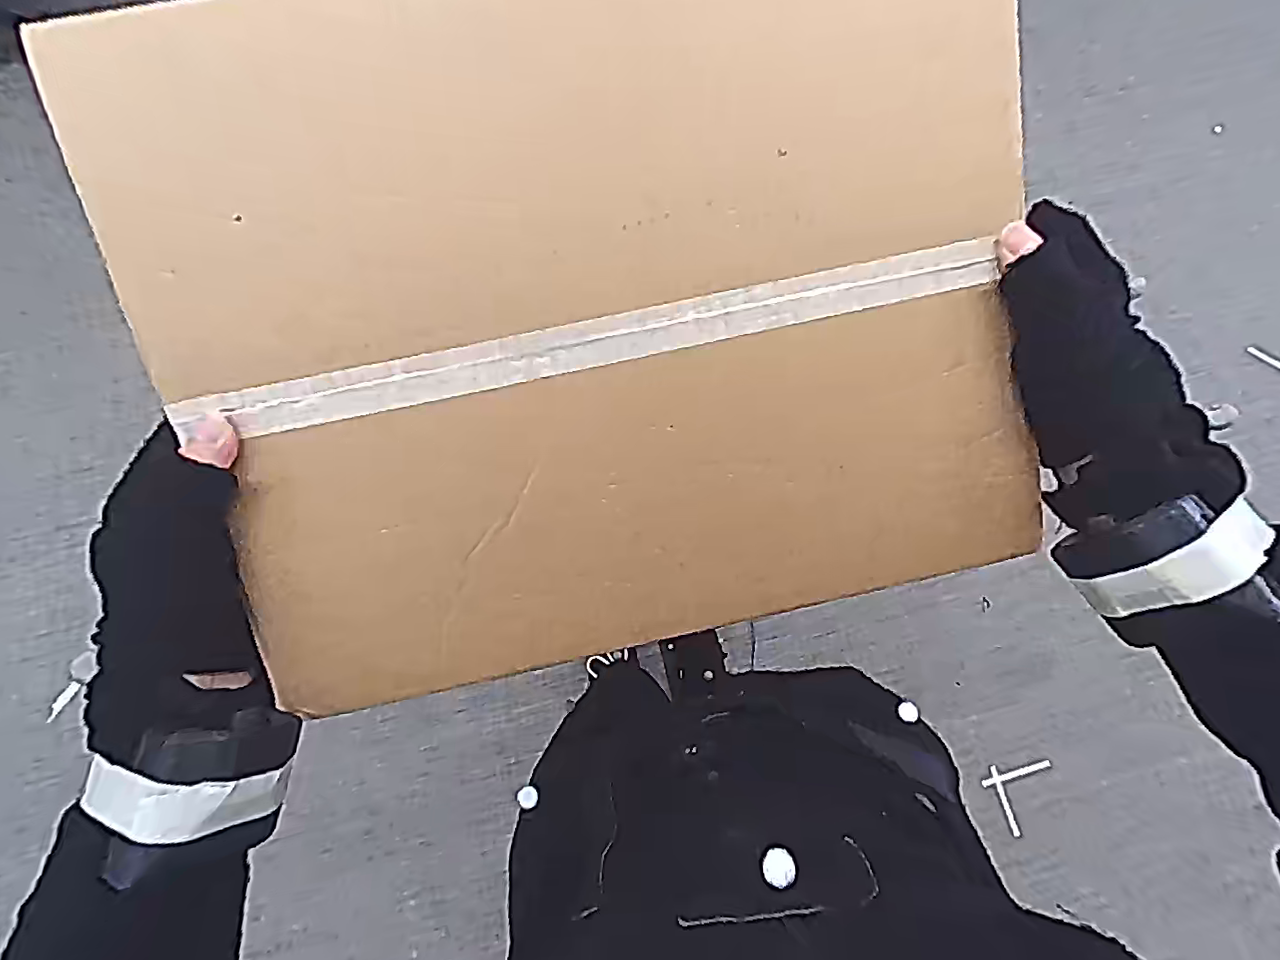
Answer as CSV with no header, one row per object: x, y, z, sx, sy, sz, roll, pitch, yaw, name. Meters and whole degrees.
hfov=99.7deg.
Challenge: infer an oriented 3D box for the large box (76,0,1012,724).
-0.023,-0.090,0.409,0.408,0.320,0.320,-12,102,-3,large box
